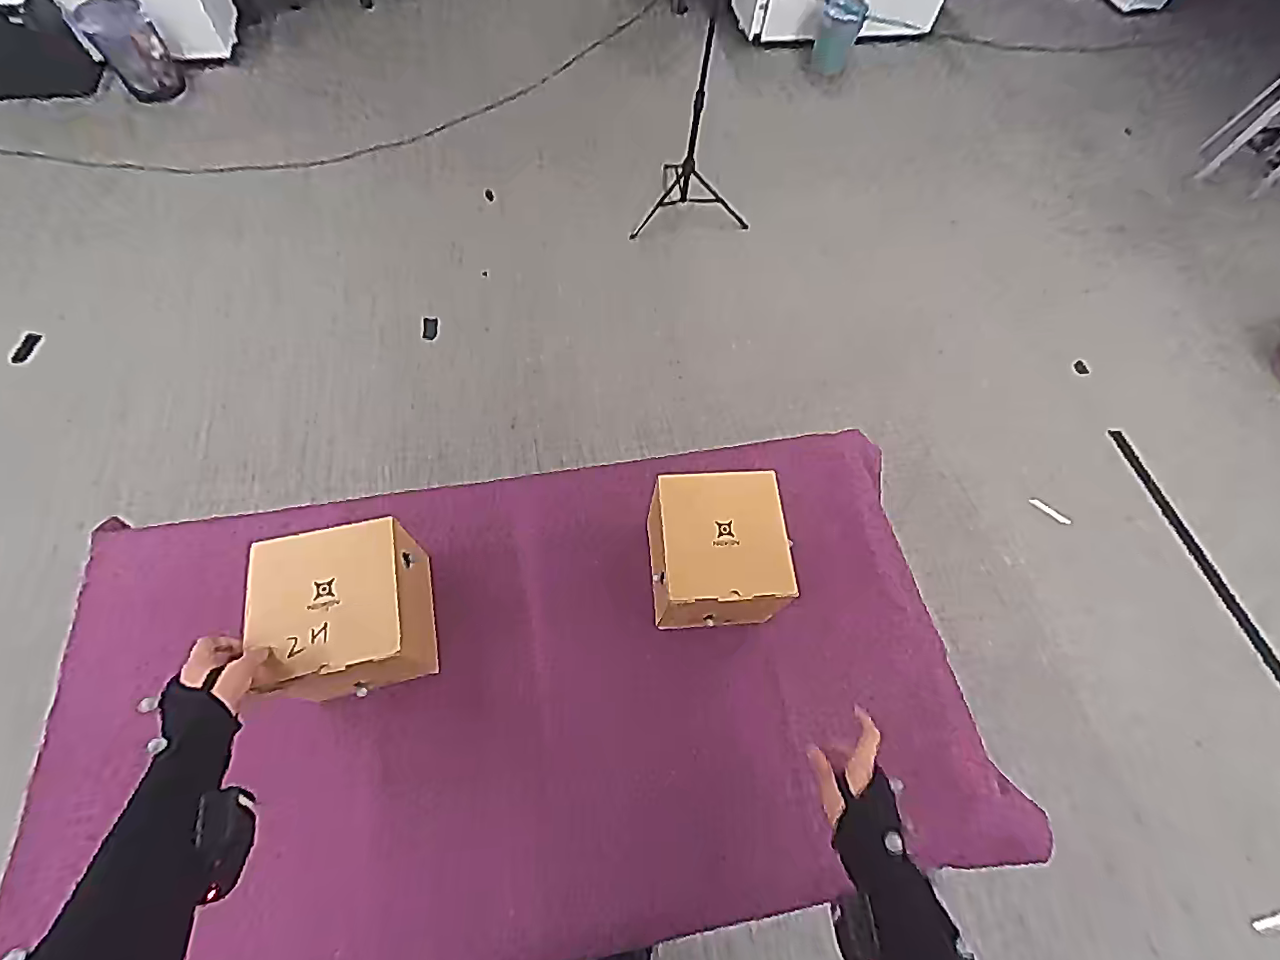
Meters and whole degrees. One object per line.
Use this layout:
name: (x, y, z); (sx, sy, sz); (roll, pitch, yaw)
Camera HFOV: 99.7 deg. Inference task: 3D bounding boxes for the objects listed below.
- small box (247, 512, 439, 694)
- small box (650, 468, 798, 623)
small box: (-0.372, 0.165, 0.707); (0.168, 0.176, 0.179); (-11, 65, -9)
small box: (0.106, 0.098, 0.777); (0.168, 0.176, 0.179); (-2, 65, -5)
